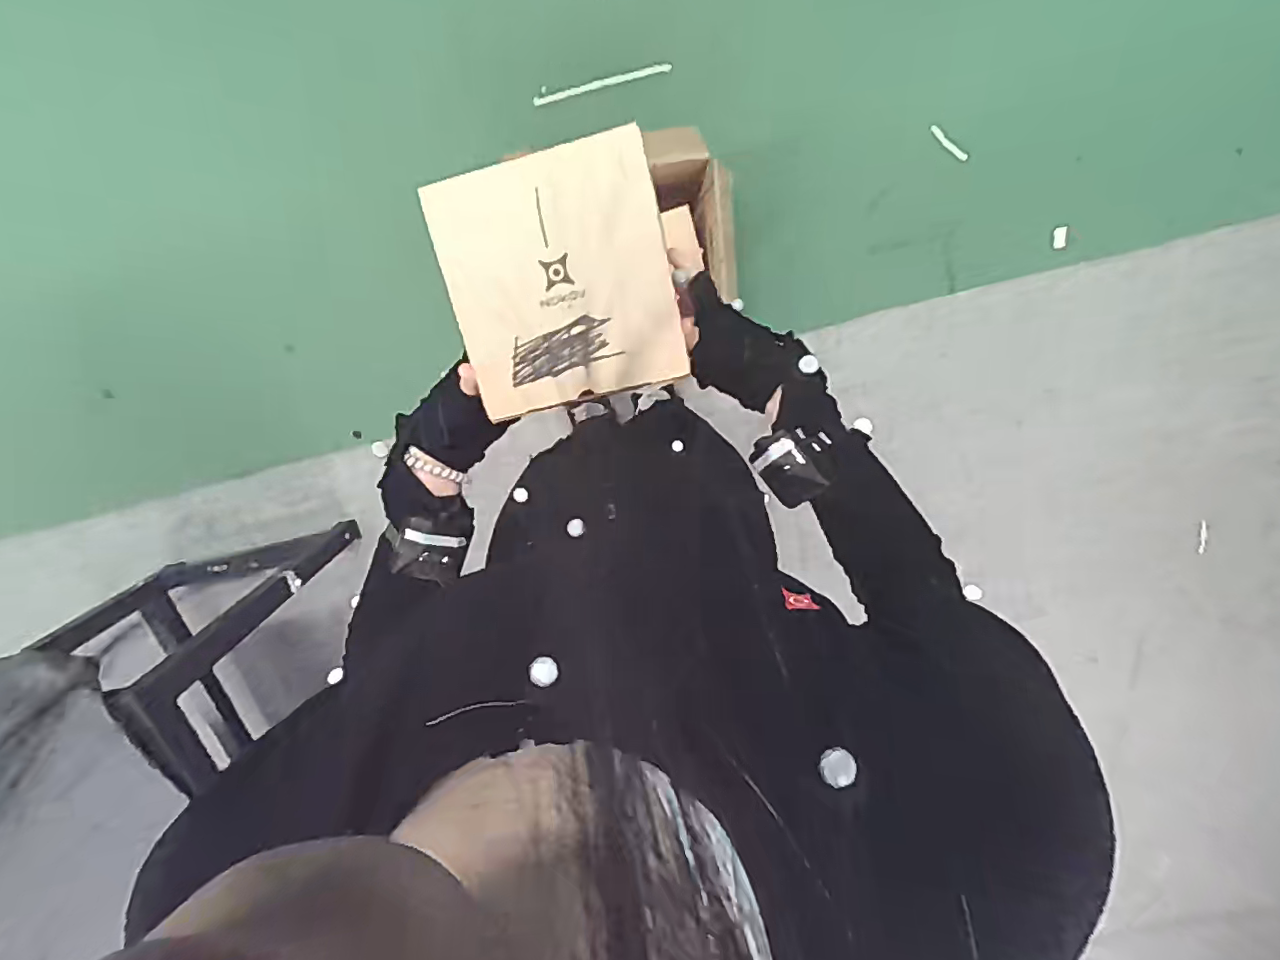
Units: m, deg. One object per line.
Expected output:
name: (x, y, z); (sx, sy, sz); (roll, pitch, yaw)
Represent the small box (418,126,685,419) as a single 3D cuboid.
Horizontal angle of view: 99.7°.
small box: (-0.055, -0.166, 0.469); (0.168, 0.176, 0.179); (-11, 106, 7)
